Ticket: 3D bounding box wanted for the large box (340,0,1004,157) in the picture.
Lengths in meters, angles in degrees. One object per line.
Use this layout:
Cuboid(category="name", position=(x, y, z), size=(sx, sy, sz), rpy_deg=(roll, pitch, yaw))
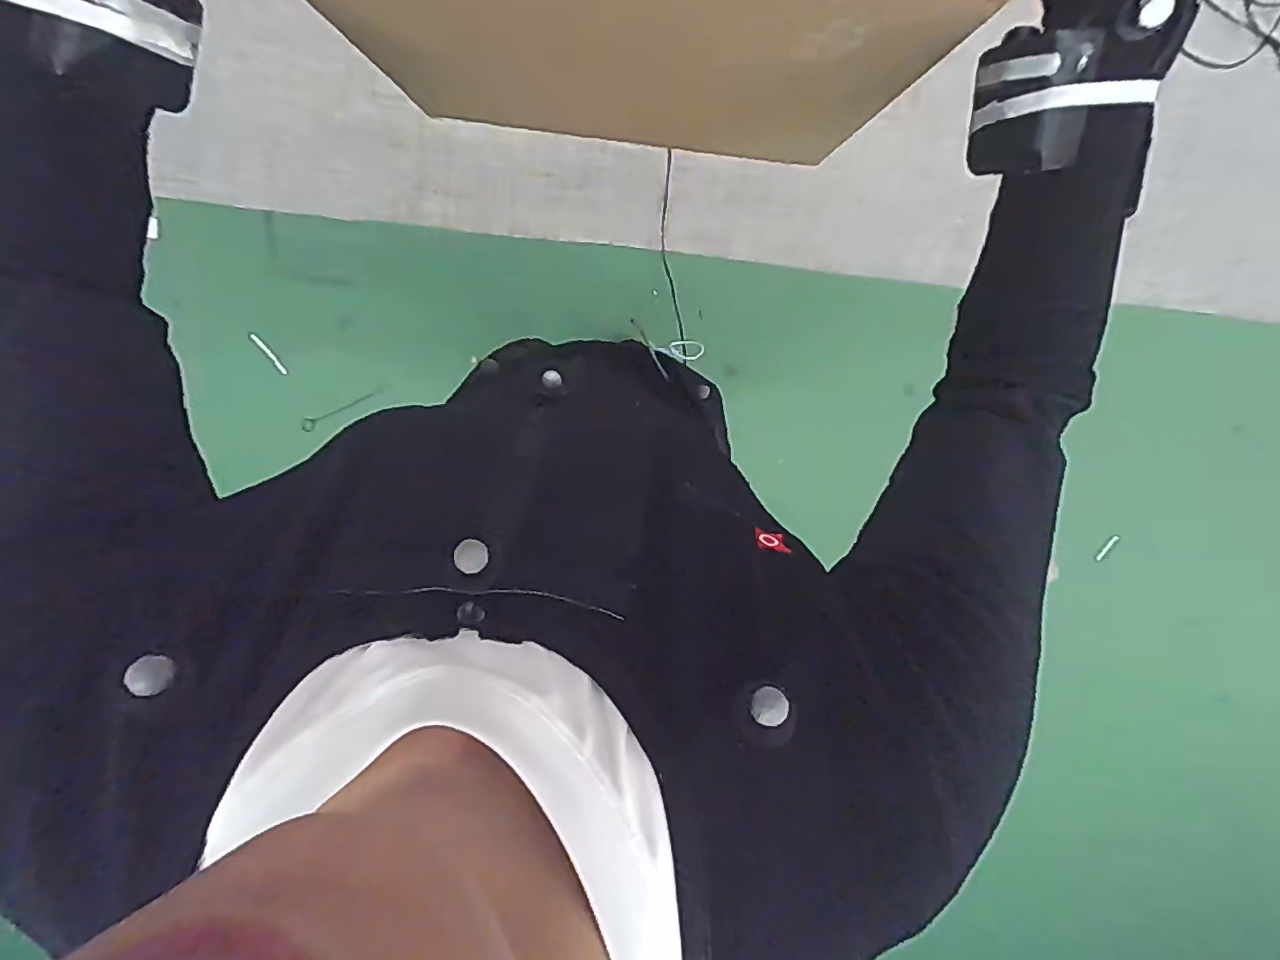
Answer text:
Cuboid(category="large box", position=(0.010, -0.452, 0.369), size=(0.408, 0.320, 0.320), rpy_deg=(5, 107, -3))
